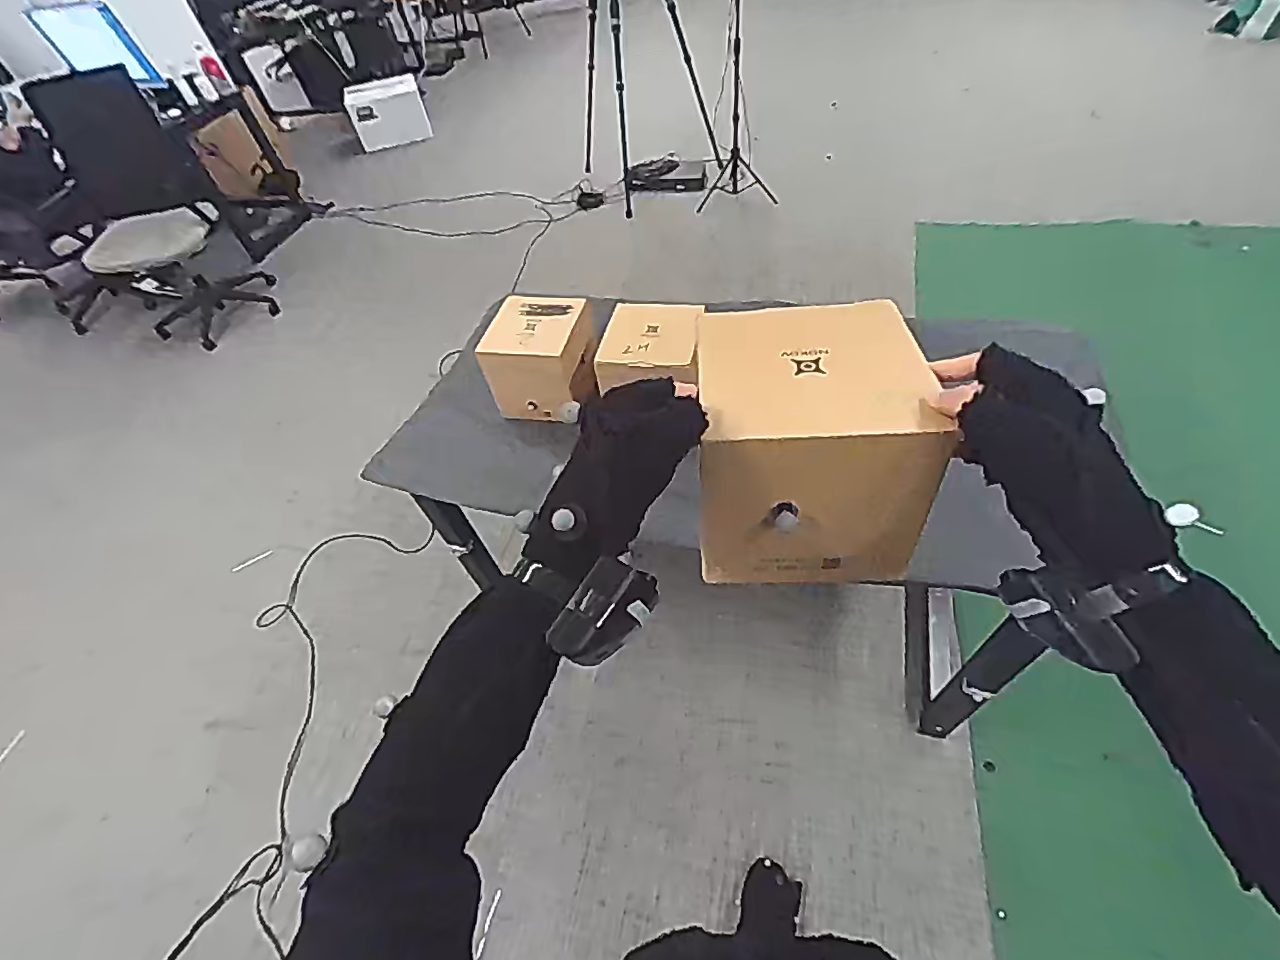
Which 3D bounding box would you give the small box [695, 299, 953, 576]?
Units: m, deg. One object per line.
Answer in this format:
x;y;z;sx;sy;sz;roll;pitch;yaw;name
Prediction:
0.133;-0.032;0.463;0.168;0.176;0.179;-2;44;7;small box

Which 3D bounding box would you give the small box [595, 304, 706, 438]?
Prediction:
0.028;-0.201;0.996;0.168;0.176;0.179;6;52;13;small box
